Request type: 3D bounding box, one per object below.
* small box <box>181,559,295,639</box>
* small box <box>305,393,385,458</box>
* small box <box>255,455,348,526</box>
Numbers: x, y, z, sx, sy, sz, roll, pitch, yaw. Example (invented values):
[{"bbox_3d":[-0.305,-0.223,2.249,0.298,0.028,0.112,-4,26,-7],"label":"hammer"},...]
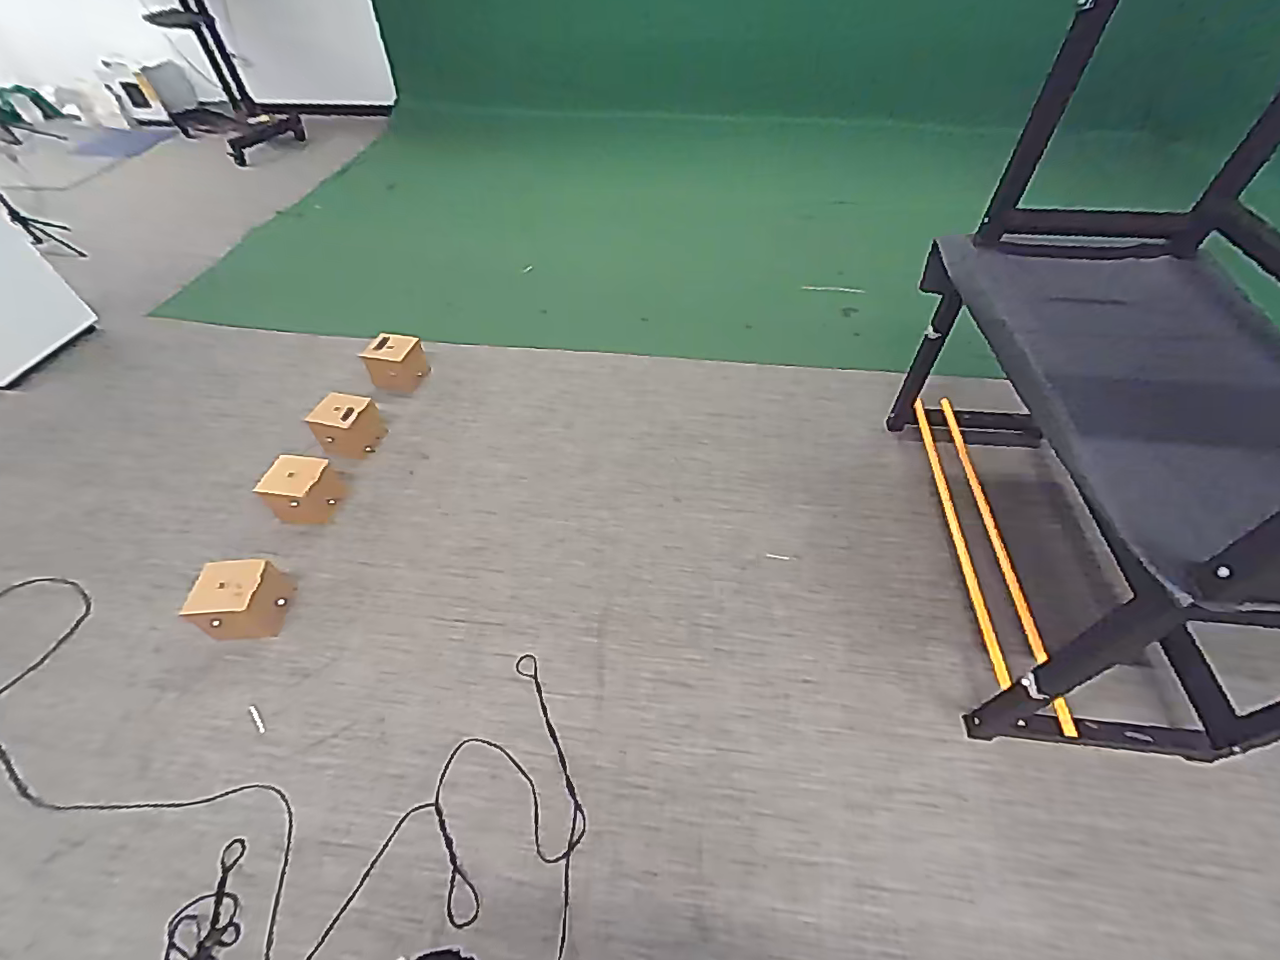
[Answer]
[{"bbox_3d":[-1.147,0.347,1.560,0.179,0.176,0.168,-4,50,-2],"label":"small box"},{"bbox_3d":[-1.095,-0.200,2.026,0.179,0.176,0.168,10,50,10],"label":"small box"},{"bbox_3d":[-1.132,0.038,1.825,0.179,0.176,0.168,6,50,5],"label":"small box"}]
